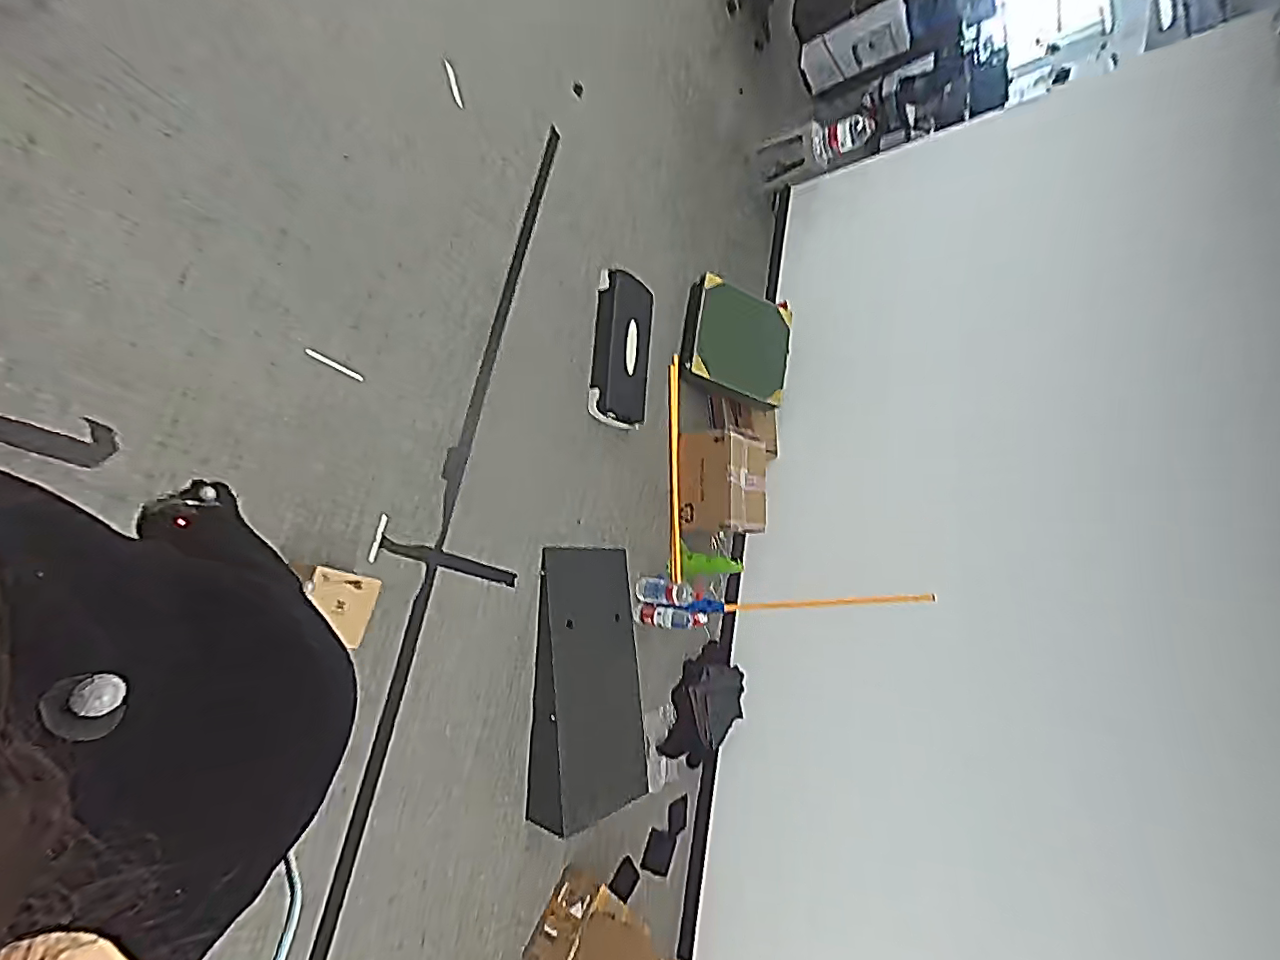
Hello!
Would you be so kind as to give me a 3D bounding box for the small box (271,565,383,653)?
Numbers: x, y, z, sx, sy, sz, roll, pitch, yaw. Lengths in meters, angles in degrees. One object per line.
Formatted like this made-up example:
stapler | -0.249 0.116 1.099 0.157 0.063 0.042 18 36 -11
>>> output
small box | -0.787 0.320 1.351 0.168 0.176 0.179 32 64 -47
